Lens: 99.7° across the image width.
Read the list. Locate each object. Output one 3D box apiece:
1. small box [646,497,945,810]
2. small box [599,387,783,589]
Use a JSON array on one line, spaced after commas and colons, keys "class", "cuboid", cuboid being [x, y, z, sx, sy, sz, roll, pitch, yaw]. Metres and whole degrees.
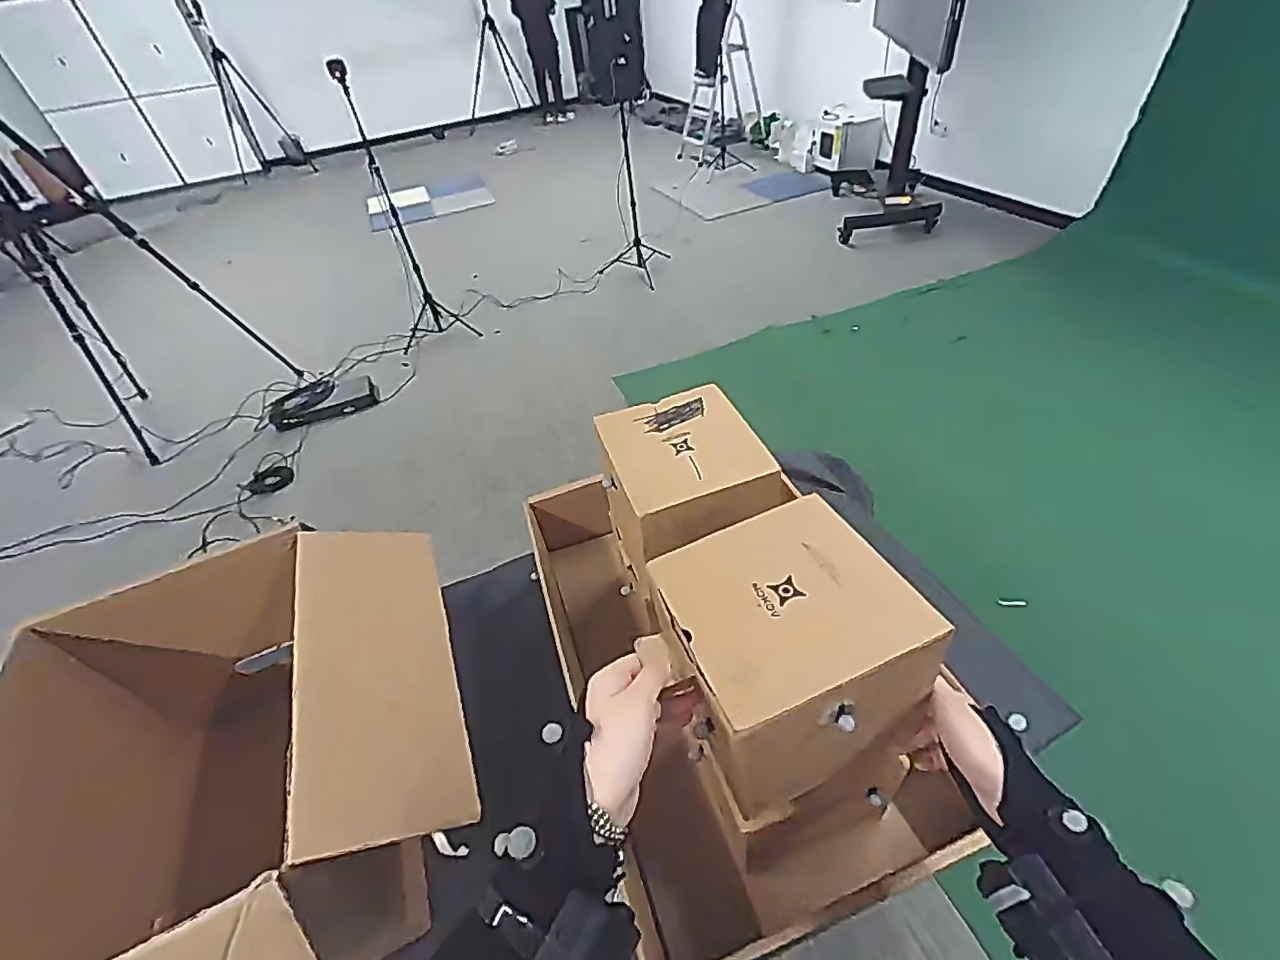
[{"class": "small box", "cuboid": [0.126, 0.151, 0.477, 0.179, 0.176, 0.168, -21, 41, -10]}, {"class": "small box", "cuboid": [0.057, 0.016, 0.675, 0.168, 0.176, 0.179, -18, 47, -9]}]
